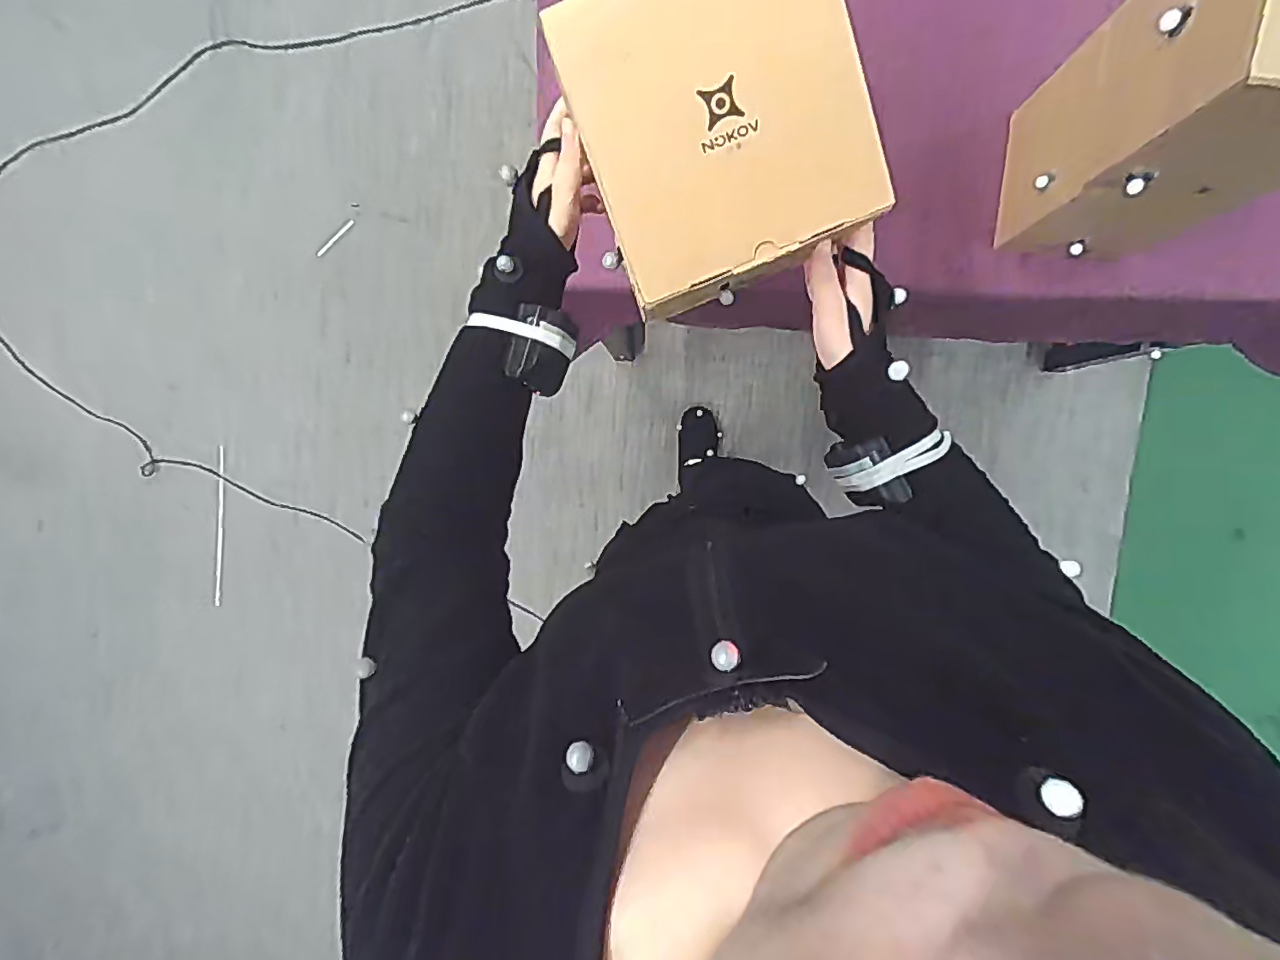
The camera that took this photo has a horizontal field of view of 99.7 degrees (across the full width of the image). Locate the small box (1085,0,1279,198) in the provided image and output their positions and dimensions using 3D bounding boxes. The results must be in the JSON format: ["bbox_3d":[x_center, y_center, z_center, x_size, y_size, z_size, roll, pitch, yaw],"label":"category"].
[{"bbox_3d":[0.529,-0.366,0.458,0.168,0.176,0.179,8,93,5],"label":"small box"}]

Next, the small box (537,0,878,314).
[{"bbox_3d":[0.043,-0.238,0.399,0.168,0.176,0.179,-19,102,5],"label":"small box"}]
